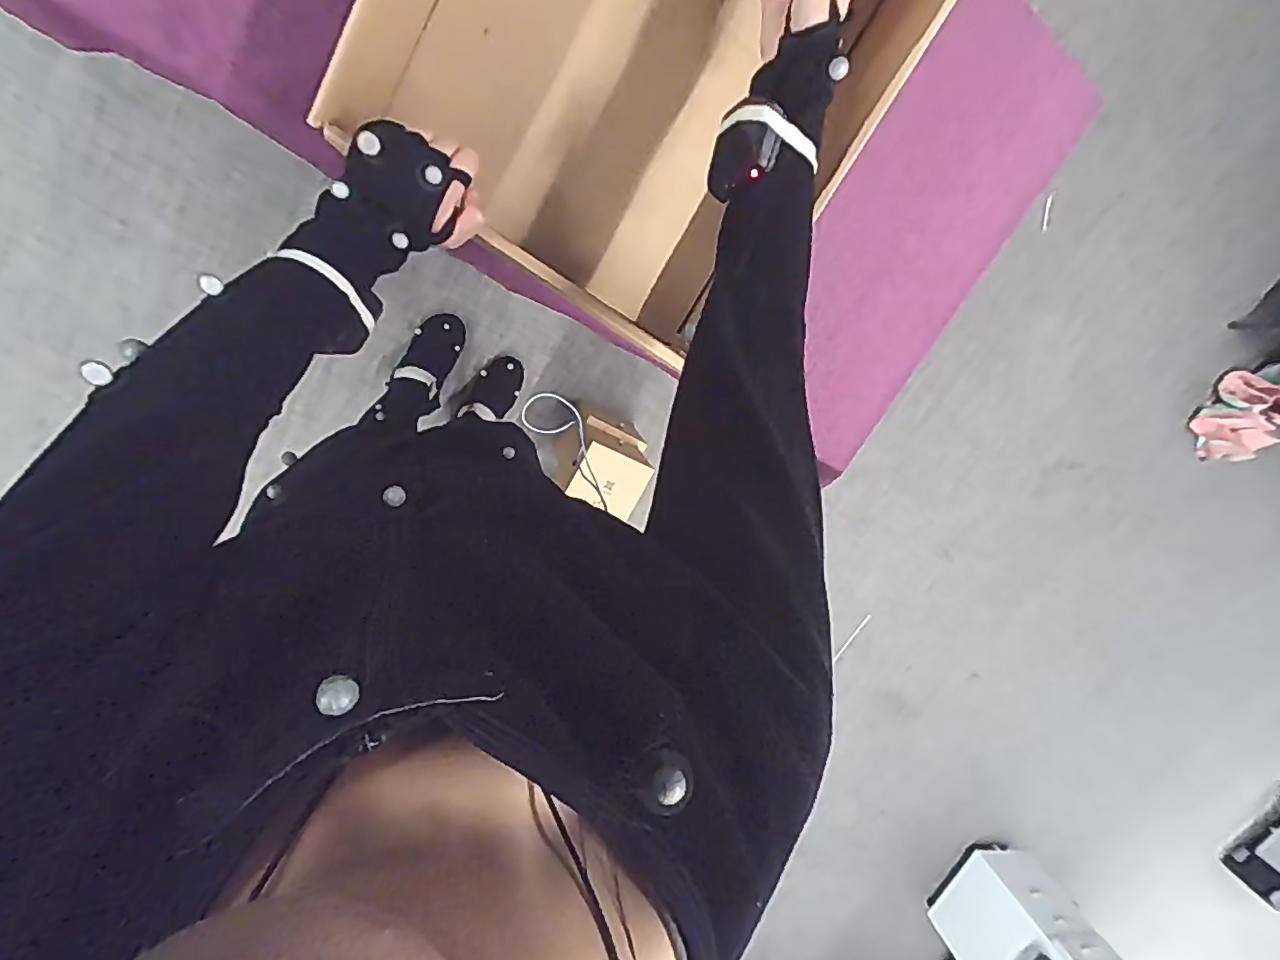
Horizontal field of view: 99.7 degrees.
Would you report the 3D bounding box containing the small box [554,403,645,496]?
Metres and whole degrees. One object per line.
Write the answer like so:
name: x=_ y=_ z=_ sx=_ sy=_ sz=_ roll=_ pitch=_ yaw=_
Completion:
small box: x=-0.115 y=-0.089 z=1.446 sx=0.179 sy=0.176 sz=0.168 roll=26 pitch=103 yaw=-22
